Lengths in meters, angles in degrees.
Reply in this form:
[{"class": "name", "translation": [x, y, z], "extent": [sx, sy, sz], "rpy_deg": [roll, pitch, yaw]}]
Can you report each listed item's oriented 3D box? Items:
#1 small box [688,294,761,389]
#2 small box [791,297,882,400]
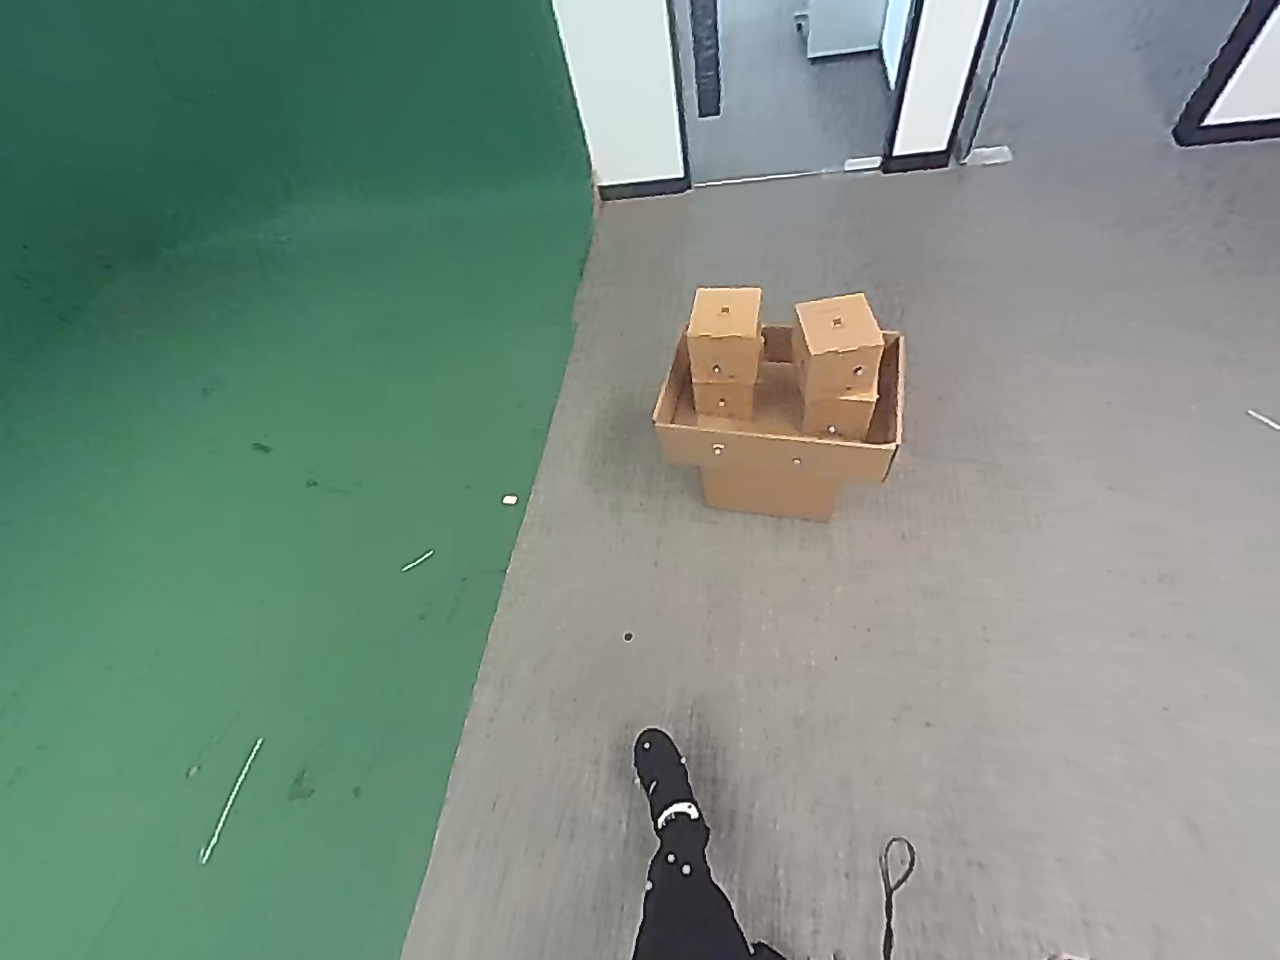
[{"class": "small box", "translation": [0.225, -0.362, 1.414], "extent": [0.168, 0.176, 0.179], "rpy_deg": [4, 58, 15]}, {"class": "small box", "translation": [0.472, -0.312, 1.324], "extent": [0.168, 0.176, 0.179], "rpy_deg": [-8, 55, 7]}]
